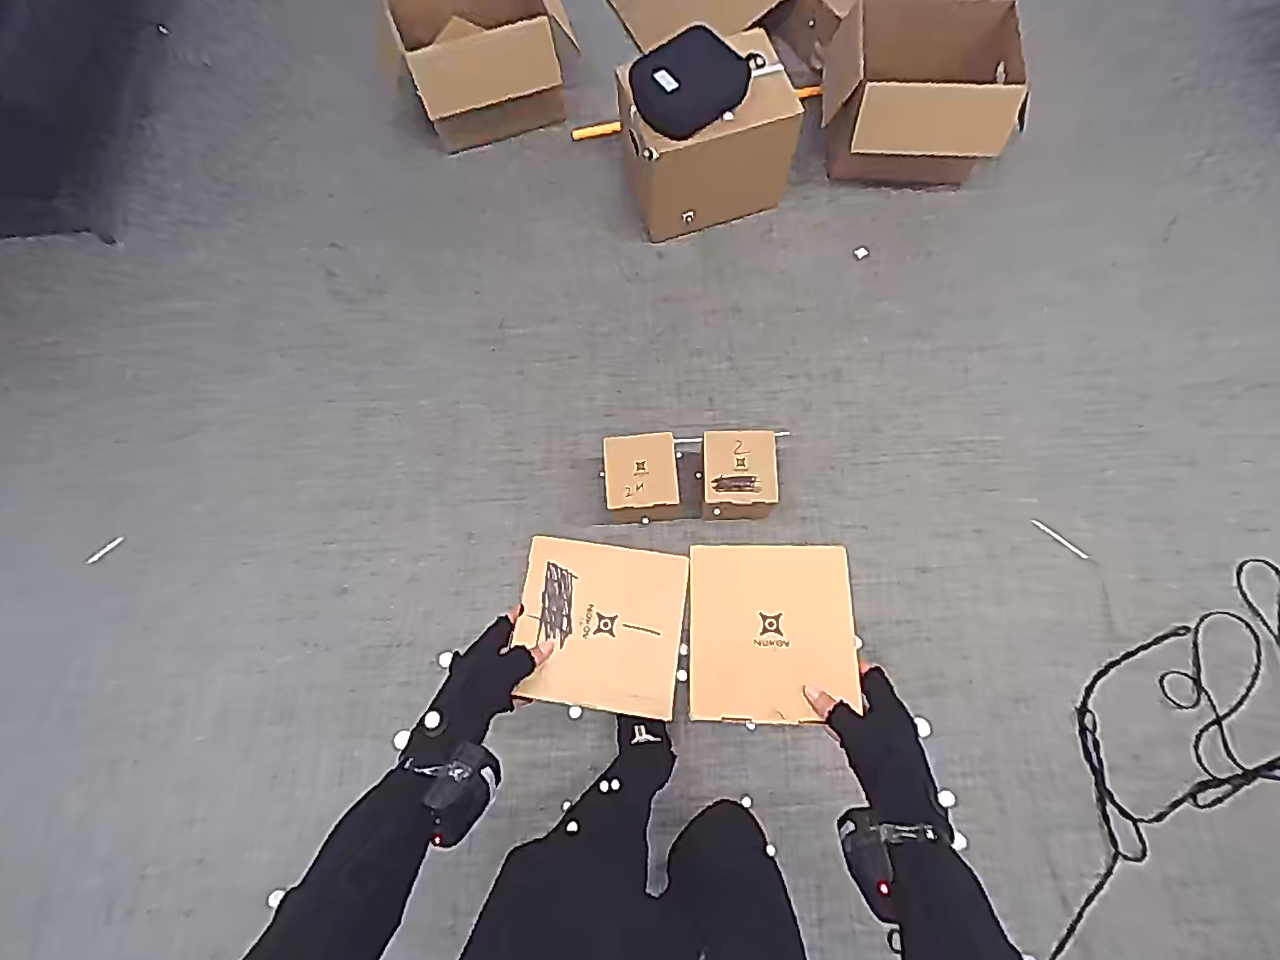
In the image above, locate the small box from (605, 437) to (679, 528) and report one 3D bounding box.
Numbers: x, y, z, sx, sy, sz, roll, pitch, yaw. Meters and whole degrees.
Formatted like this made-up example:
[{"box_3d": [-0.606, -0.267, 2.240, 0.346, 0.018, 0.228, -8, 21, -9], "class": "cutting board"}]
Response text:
[{"box_3d": [0.005, 0.010, 1.314, 0.168, 0.176, 0.179, -5, 73, 2], "class": "small box"}]
